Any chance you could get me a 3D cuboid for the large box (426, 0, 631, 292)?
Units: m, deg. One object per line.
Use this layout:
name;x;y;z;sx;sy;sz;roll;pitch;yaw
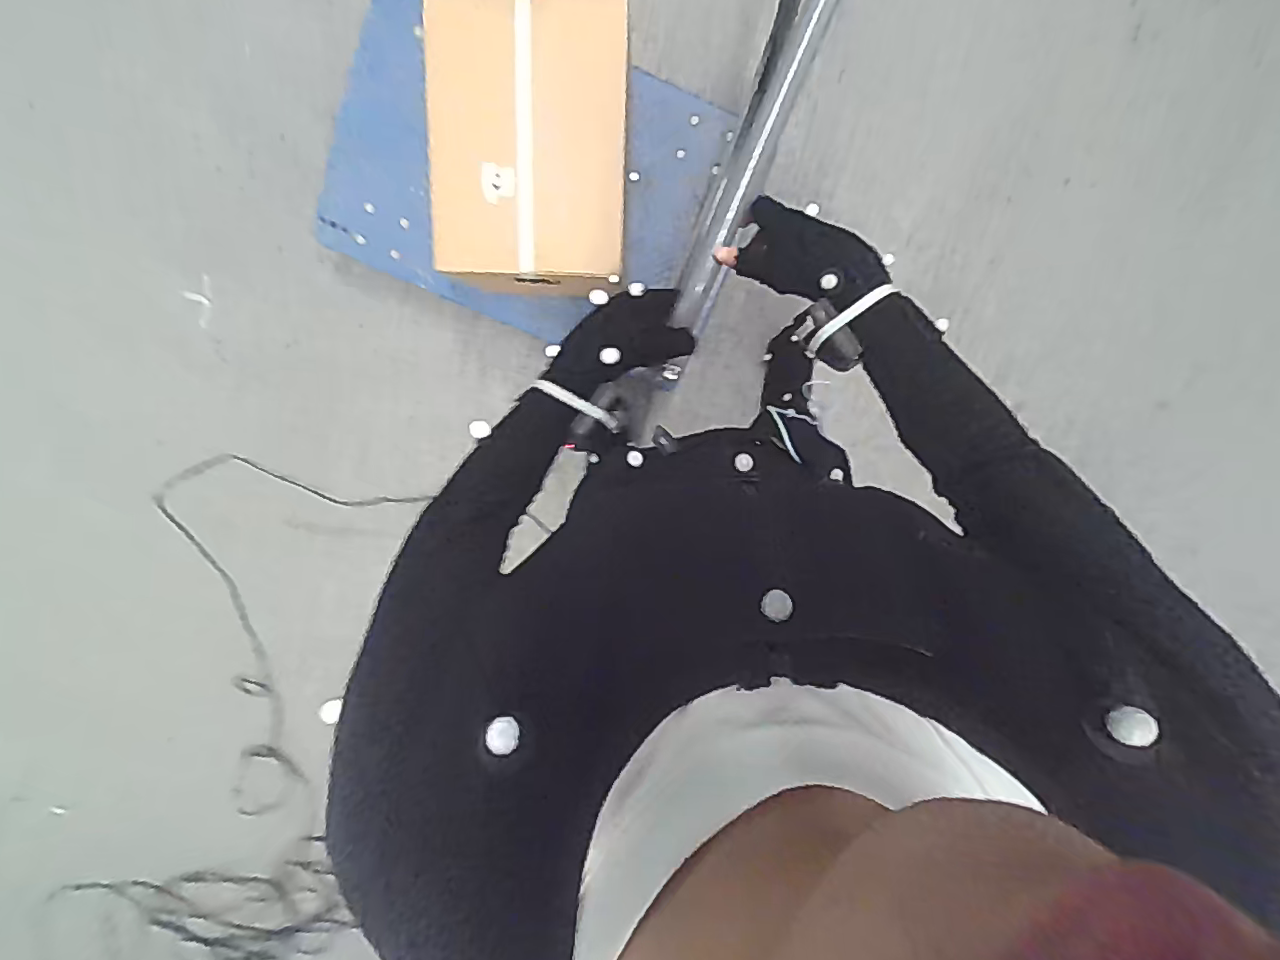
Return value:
large box;-0.177;-0.579;1.001;0.320;0.320;0.408;3;103;0
